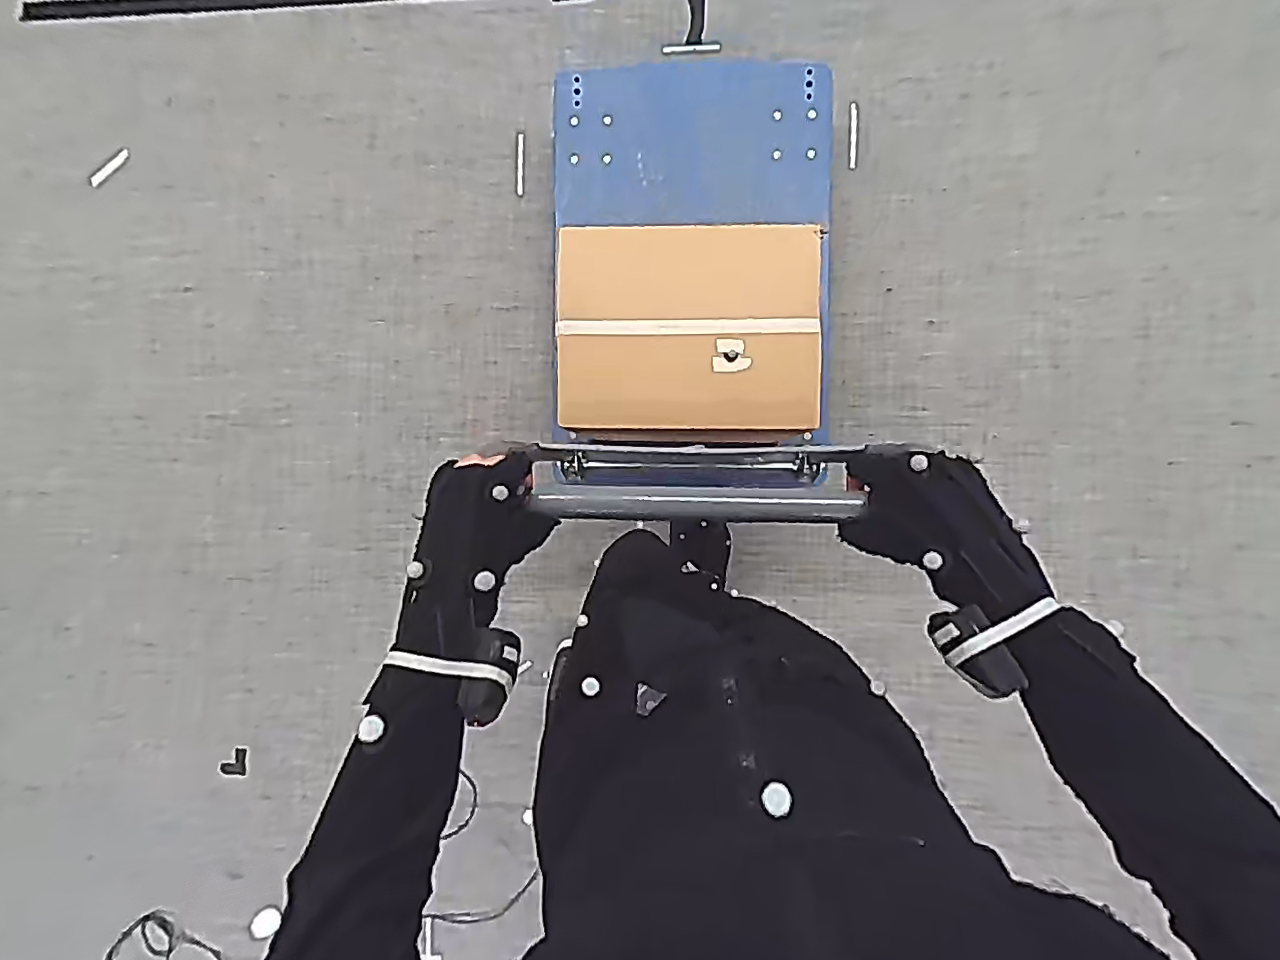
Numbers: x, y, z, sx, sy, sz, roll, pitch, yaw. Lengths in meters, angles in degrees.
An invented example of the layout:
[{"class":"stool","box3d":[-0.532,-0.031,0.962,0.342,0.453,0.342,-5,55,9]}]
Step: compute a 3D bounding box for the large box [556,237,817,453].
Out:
[{"class":"large box","box3d":[0.074,-0.214,0.975,0.408,0.320,0.320,0,91,2]}]
